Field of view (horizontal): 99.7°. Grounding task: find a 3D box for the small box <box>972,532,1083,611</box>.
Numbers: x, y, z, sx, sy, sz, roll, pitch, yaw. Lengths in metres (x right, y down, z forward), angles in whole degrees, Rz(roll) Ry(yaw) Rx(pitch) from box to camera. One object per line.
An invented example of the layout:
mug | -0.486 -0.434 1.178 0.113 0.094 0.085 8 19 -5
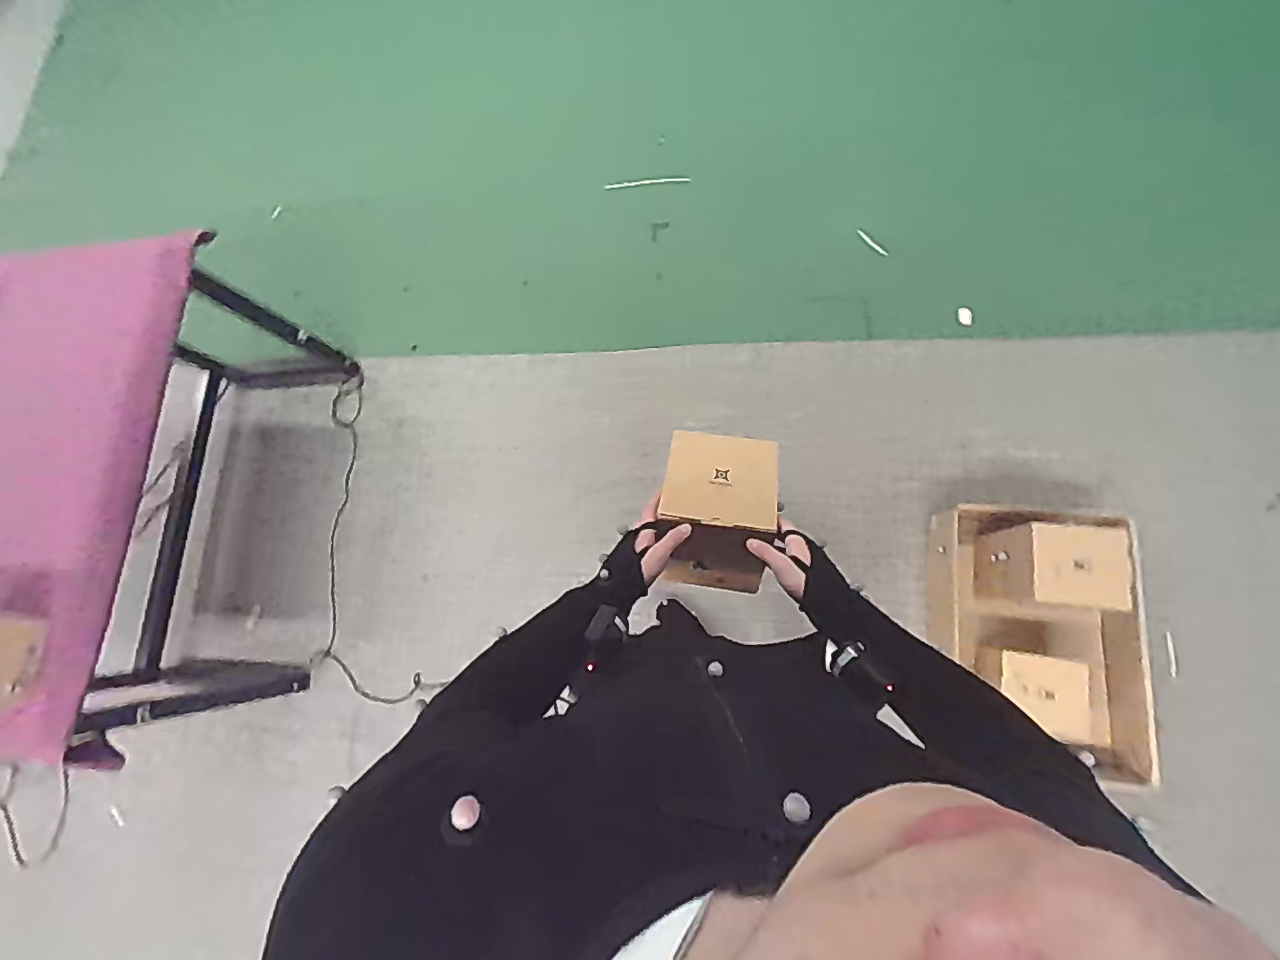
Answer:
small box | 0.959 0.228 1.346 0.179 0.176 0.168 5 79 11

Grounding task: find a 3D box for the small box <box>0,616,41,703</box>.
small box | -1.371 0.360 1.075 0.179 0.176 0.168 2 78 13

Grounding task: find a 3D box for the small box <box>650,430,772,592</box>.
small box | 0.107 0.049 0.844 0.168 0.176 0.179 7 50 5

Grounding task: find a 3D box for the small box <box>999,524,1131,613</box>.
small box | 0.926 0.194 1.190 0.179 0.176 0.168 5 79 12
